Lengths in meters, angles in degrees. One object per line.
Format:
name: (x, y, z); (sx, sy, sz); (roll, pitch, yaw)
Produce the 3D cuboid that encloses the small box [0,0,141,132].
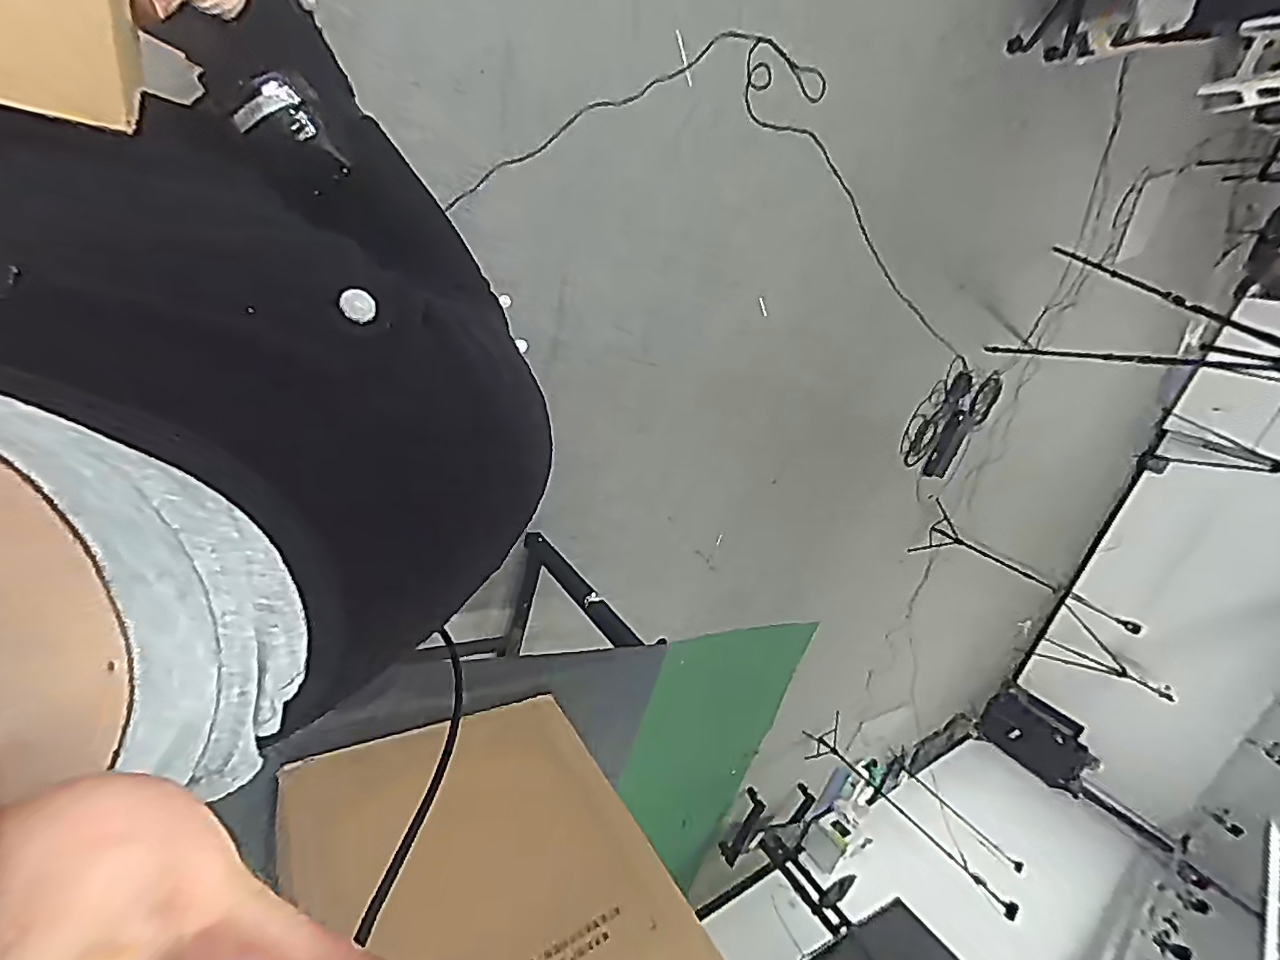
small box: (-0.275, -0.243, 0.164); (0.168, 0.176, 0.179); (-7, 131, -37)
